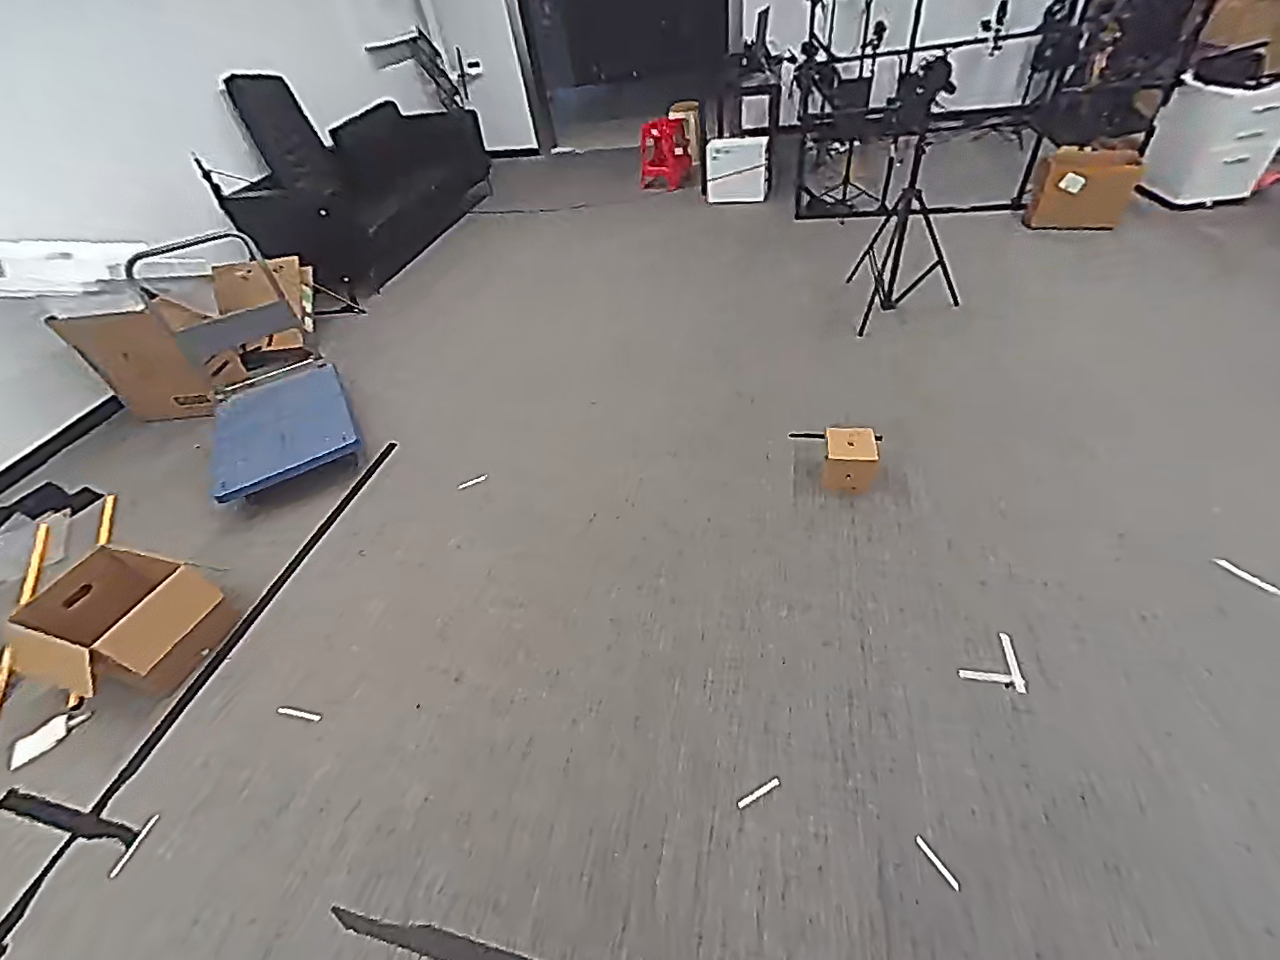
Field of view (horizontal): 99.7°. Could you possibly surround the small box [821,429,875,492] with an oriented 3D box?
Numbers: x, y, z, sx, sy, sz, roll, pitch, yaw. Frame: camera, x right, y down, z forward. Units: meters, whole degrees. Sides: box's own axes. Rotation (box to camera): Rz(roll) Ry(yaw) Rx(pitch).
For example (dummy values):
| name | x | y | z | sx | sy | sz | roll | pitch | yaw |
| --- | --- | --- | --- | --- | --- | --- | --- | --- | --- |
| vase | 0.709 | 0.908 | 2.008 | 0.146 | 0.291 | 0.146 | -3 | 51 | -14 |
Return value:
| name | x | y | z | sx | sy | sz | roll | pitch | yaw |
| --- | --- | --- | --- | --- | --- | --- | --- | --- | --- |
| small box | 0.768 | -0.070 | 2.009 | 0.168 | 0.176 | 0.179 | 3 | 44 | 12 |
